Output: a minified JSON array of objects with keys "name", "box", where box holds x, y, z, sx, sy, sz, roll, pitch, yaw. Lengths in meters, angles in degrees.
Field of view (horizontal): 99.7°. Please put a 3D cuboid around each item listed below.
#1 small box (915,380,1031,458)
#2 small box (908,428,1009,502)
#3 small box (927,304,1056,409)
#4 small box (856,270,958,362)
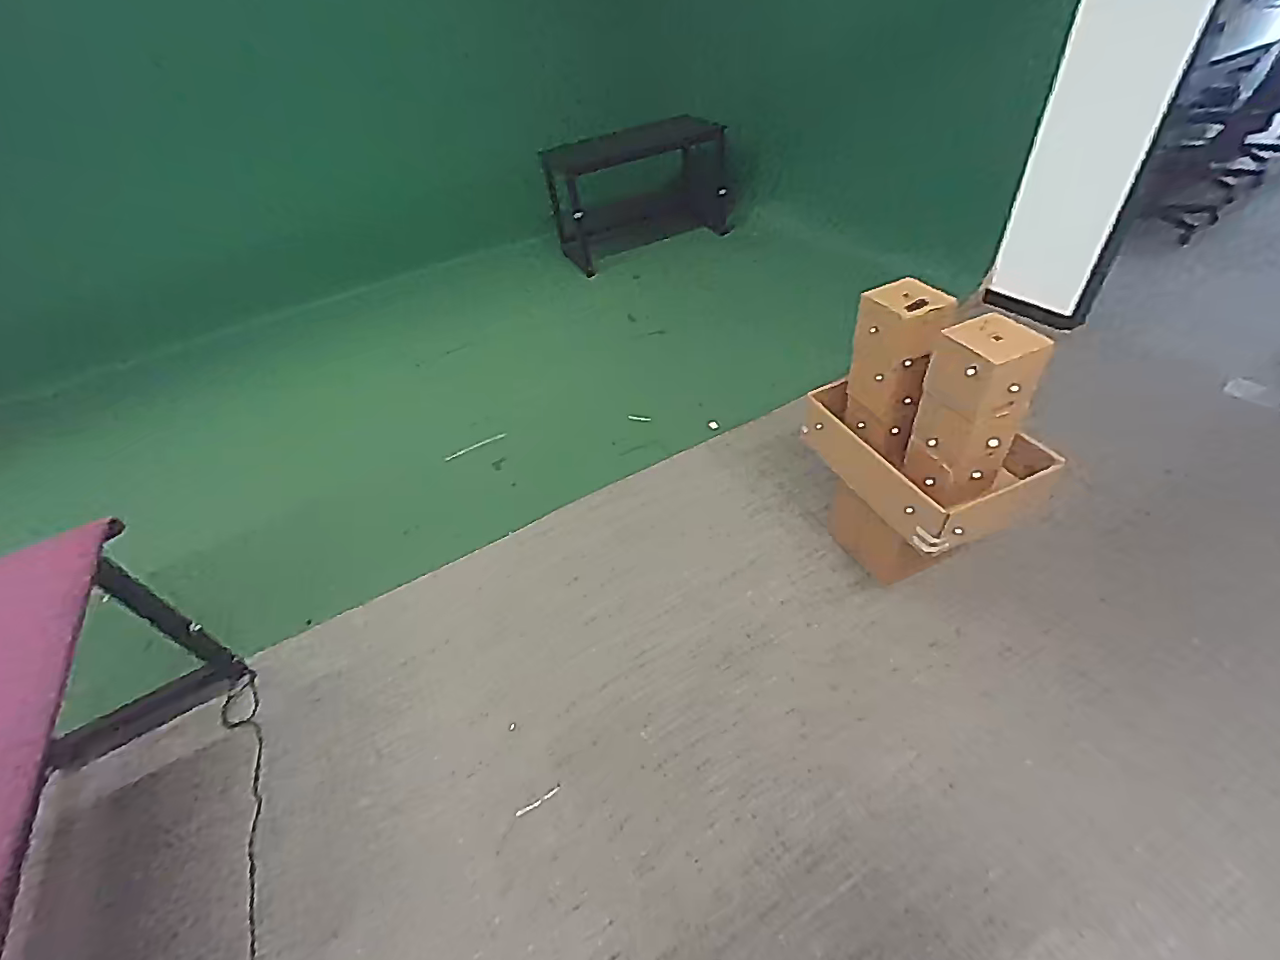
[{"name":"small box","box":[0.860,-0.176,1.415,0.168,0.176,0.179,-19,46,-7]},{"name":"small box","box":[0.886,-0.062,1.529,0.179,0.176,0.168,-18,45,-6]},{"name":"small box","box":[0.830,-0.289,1.298,0.168,0.176,0.179,-21,45,-9]},{"name":"small box","box":[0.720,-0.443,1.478,0.168,0.176,0.179,-22,45,-10]}]
